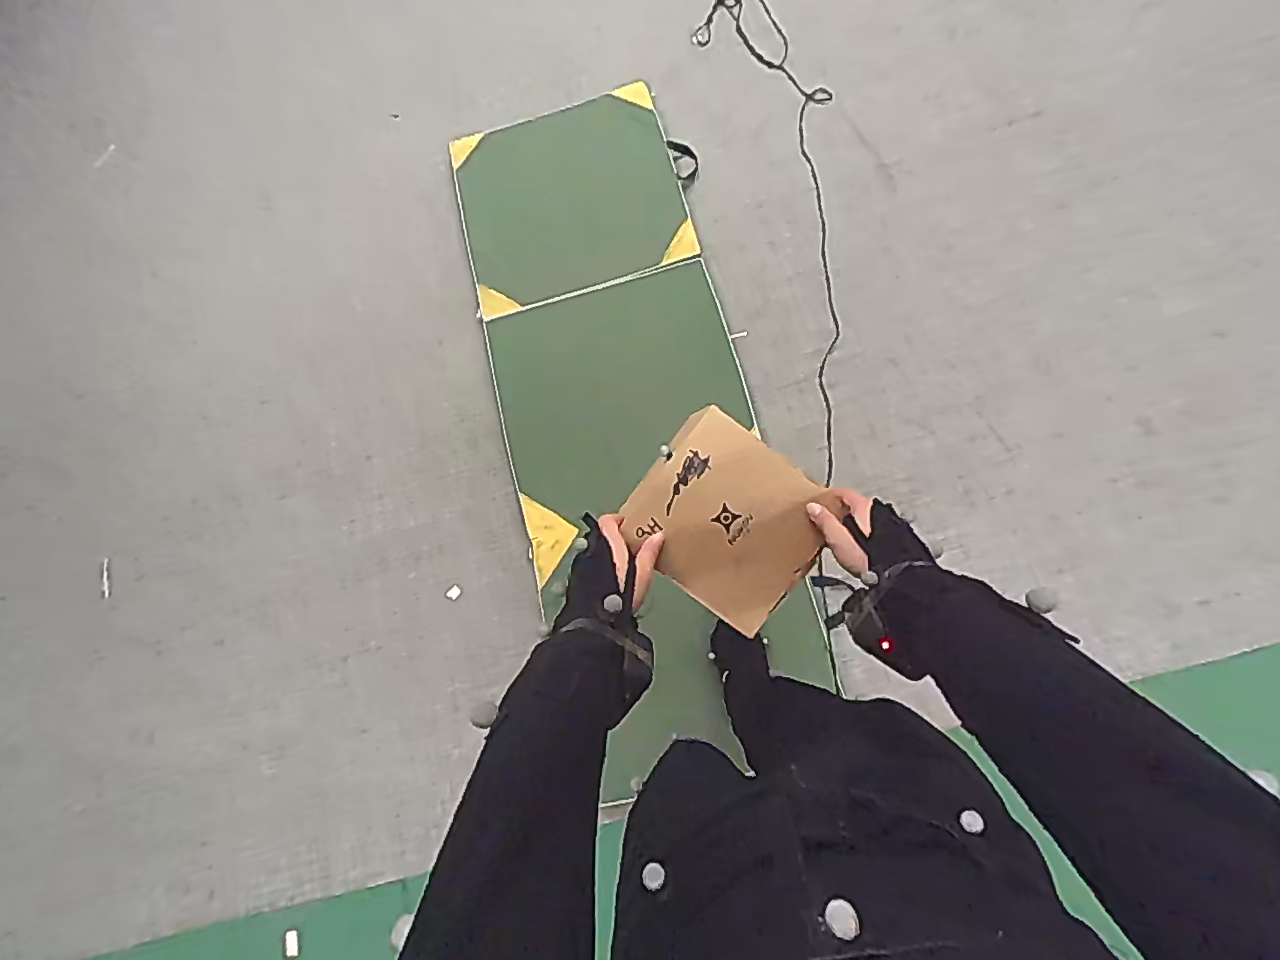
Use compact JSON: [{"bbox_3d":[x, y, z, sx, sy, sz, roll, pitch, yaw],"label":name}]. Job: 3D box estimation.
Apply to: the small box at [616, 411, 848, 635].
[{"bbox_3d":[0.092,0.038,0.618,0.179,0.176,0.168,37,93,-2],"label":"small box"}]
